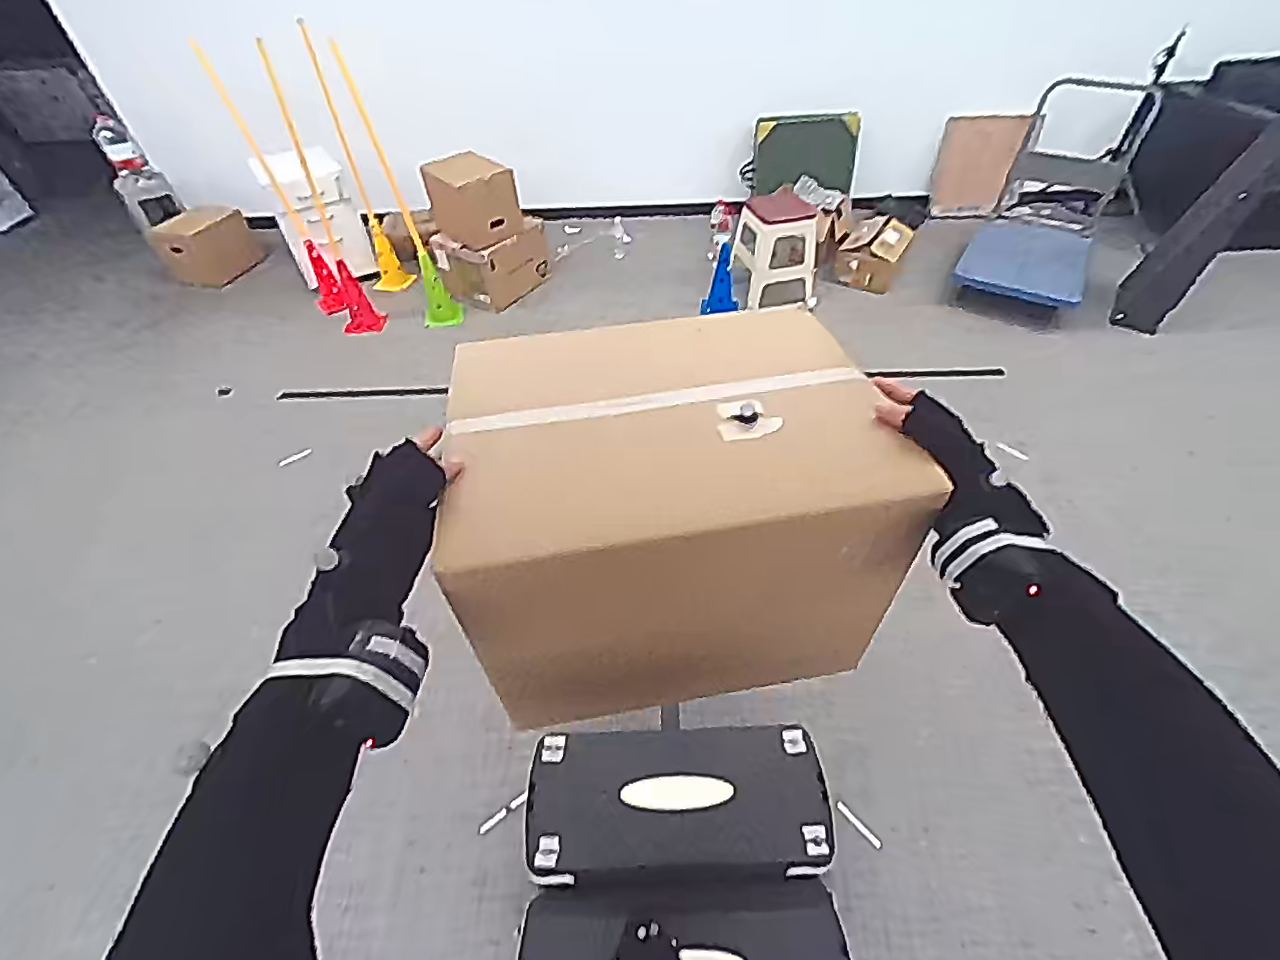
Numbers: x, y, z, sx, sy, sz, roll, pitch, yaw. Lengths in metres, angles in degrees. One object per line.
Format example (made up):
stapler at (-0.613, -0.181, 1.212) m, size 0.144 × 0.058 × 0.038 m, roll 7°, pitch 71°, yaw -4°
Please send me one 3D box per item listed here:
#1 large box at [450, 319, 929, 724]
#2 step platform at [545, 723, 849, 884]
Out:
large box at (0.025, 0.042, 0.635) m, size 0.408 × 0.320 × 0.320 m, roll -8°, pitch 46°, yaw -6°
step platform at (0.122, 0.752, 1.273) m, size 0.684 × 0.204 × 0.286 m, roll -2°, pitch 47°, yaw -1°
